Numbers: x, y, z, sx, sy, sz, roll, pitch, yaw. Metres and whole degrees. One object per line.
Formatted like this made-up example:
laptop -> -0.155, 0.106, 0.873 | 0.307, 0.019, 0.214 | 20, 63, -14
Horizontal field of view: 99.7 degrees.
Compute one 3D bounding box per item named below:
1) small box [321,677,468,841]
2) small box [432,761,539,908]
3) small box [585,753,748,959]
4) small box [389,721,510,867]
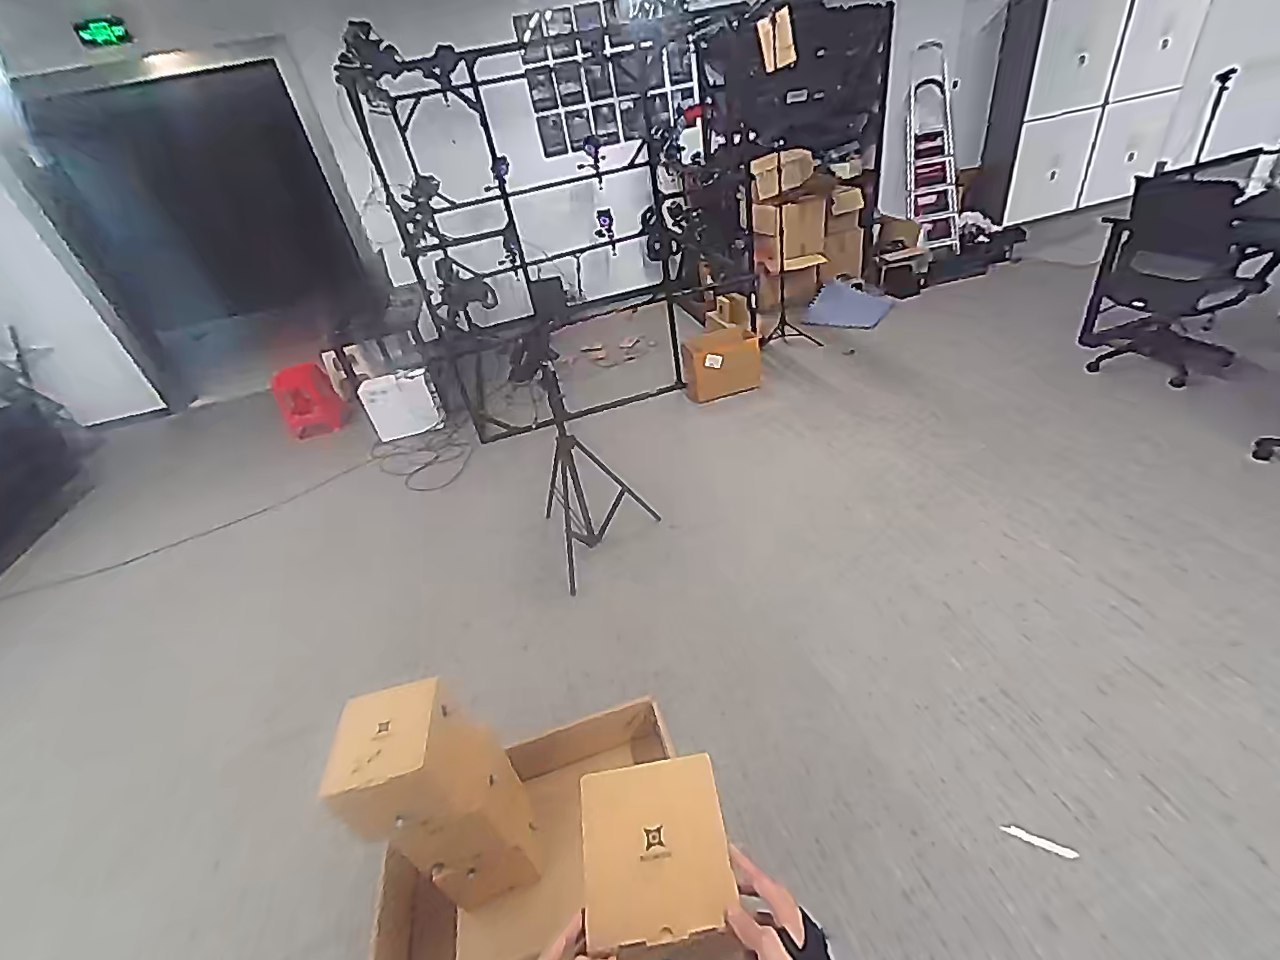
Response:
small box -> -0.409, 0.481, 0.939 | 0.168, 0.176, 0.179 | -14, 35, -3
small box -> -0.320, 0.738, 1.128 | 0.168, 0.176, 0.179 | -18, 34, -9
small box -> 0.029, 0.473, 0.665 | 0.168, 0.176, 0.179 | -11, 40, -1
small box -> -0.352, 0.605, 1.036 | 0.168, 0.176, 0.179 | -14, 34, -4
